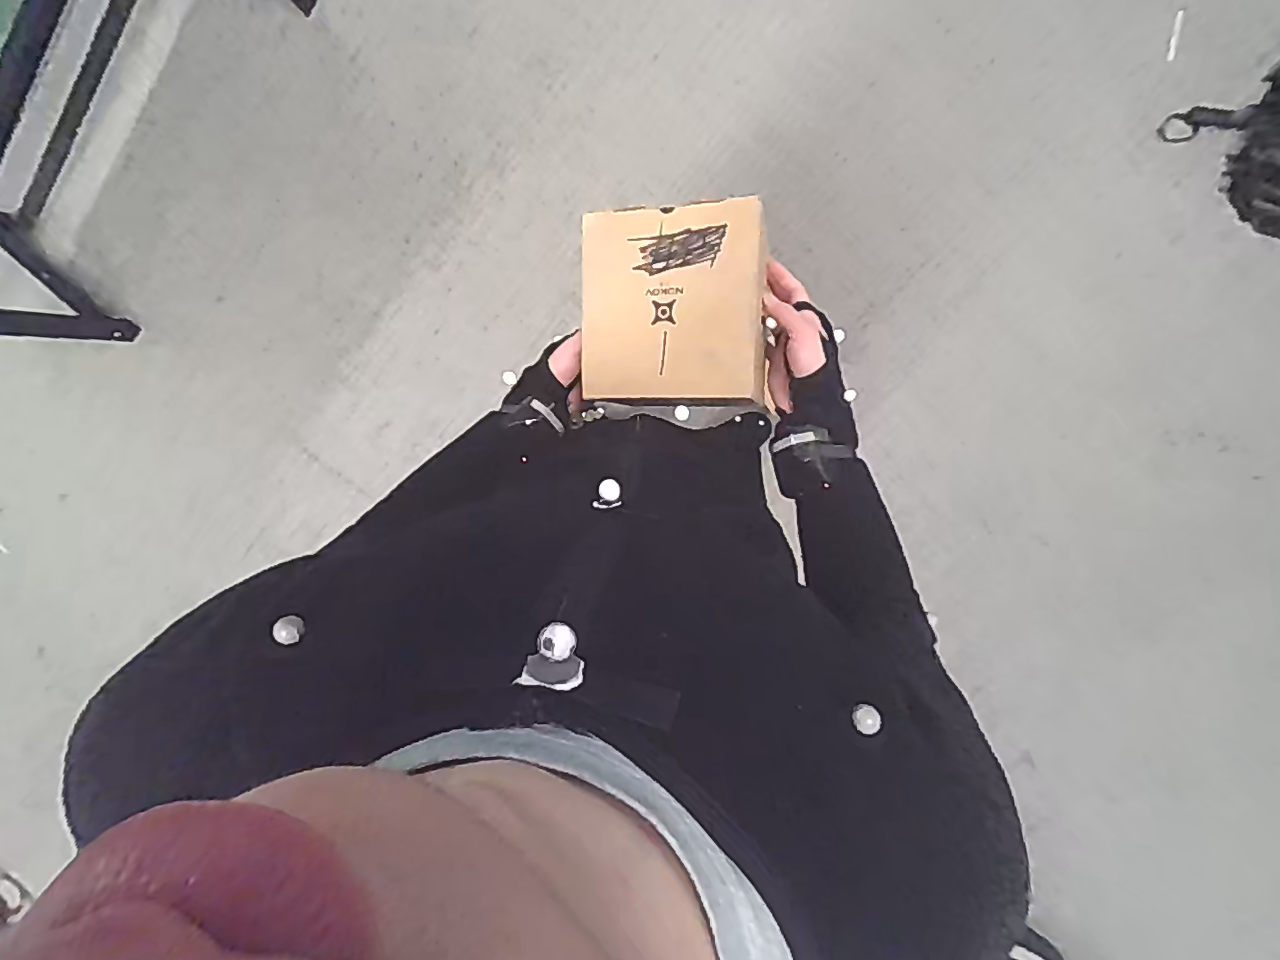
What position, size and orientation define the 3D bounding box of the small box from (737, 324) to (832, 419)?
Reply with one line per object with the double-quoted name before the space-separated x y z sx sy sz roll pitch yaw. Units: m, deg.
"small box" 0.363 -0.279 1.399 0.179 0.176 0.168 -35 93 14
